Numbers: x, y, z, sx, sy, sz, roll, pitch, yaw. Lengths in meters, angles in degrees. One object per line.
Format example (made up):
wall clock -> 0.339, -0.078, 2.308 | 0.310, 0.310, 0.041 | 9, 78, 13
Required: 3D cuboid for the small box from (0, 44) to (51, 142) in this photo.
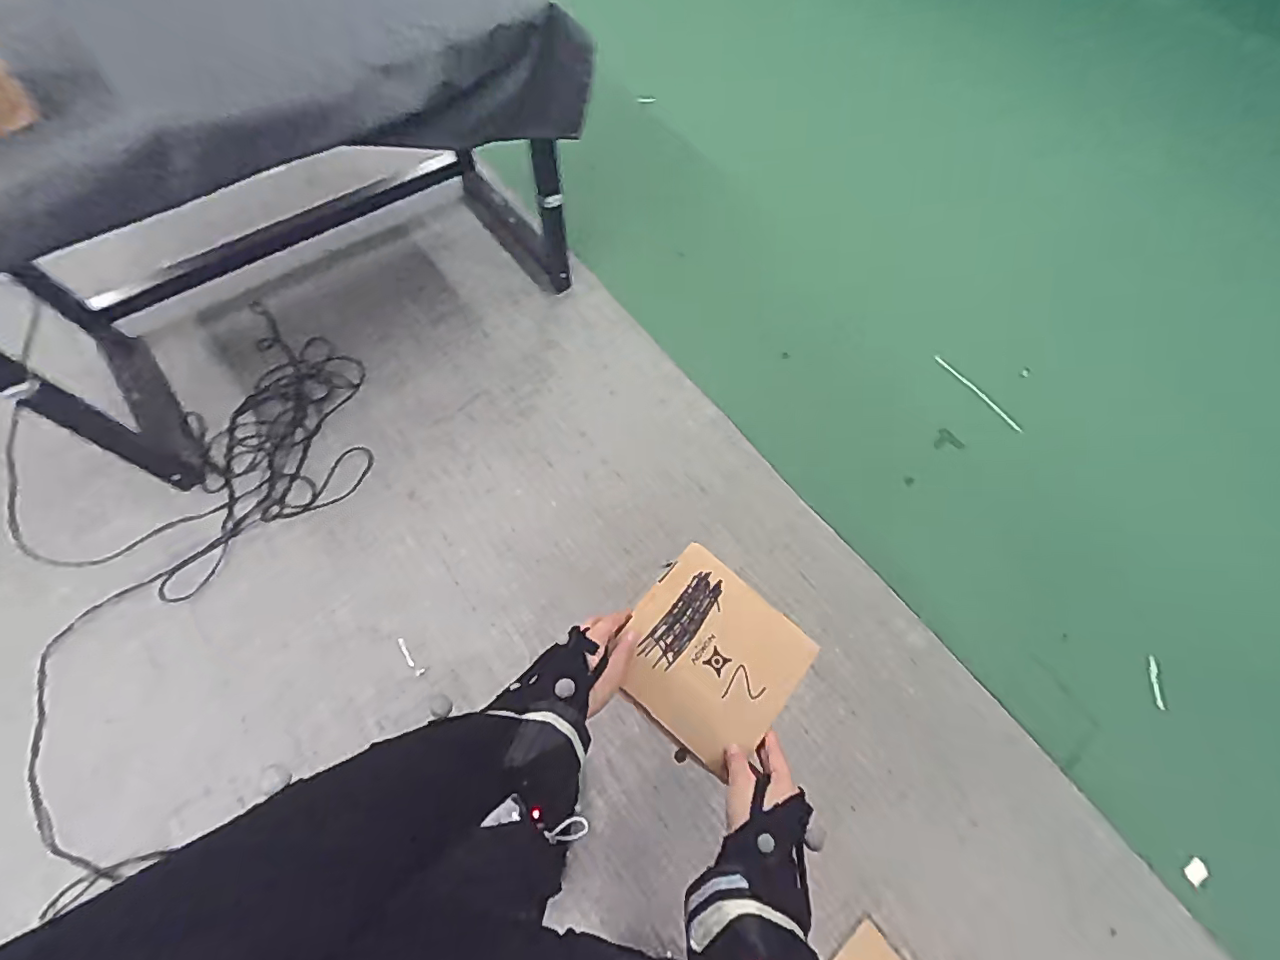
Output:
small box -> -1.009, -0.587, 0.754 | 0.179, 0.176, 0.168 | -35, 73, -18
